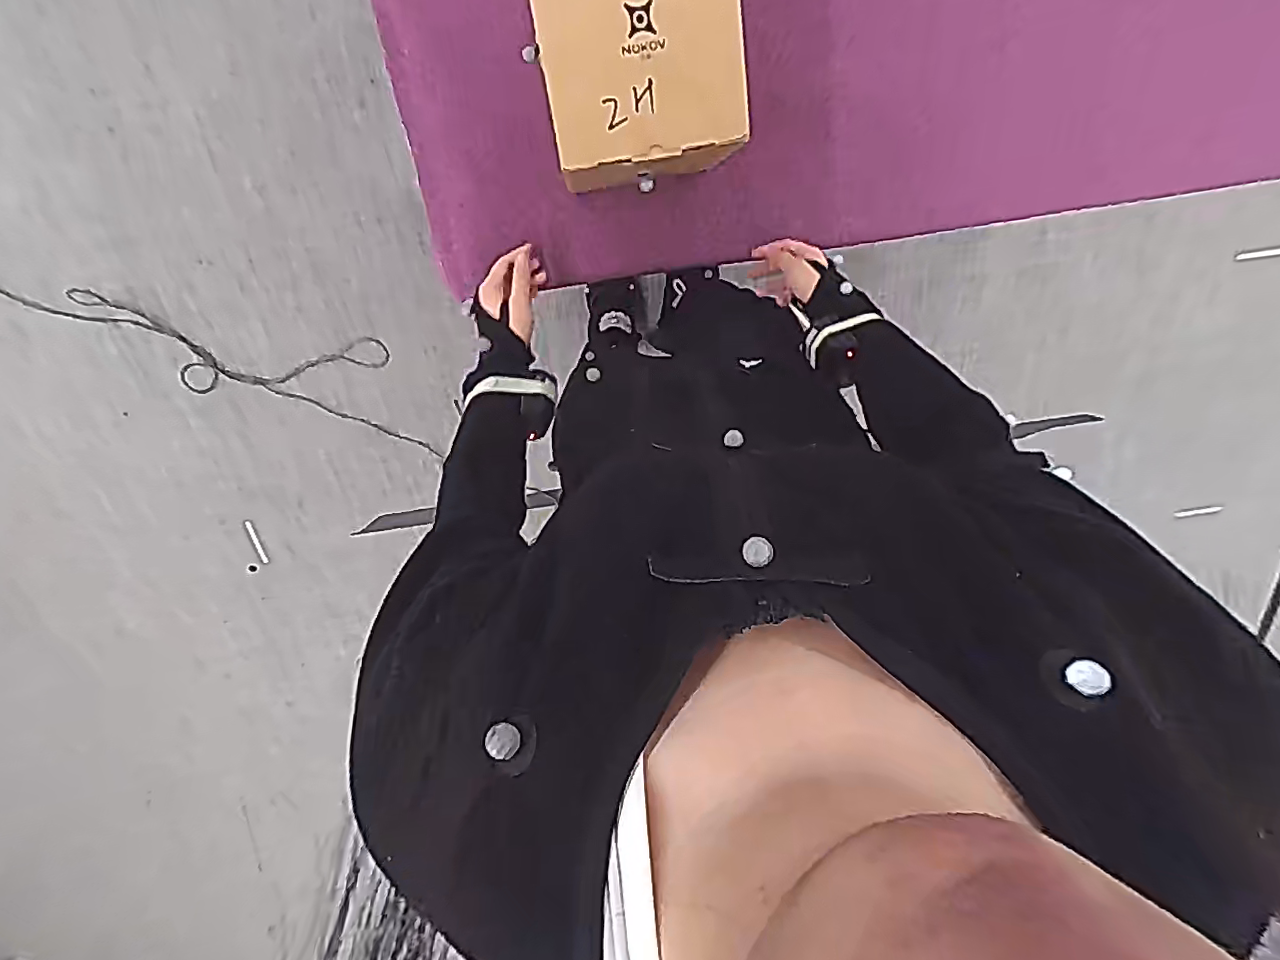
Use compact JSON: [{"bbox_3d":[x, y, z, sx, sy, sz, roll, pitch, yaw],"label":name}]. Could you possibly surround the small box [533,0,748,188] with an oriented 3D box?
[{"bbox_3d":[-0.006,-0.389,0.502,0.168,0.176,0.179,-10,113,-1],"label":"small box"}]
